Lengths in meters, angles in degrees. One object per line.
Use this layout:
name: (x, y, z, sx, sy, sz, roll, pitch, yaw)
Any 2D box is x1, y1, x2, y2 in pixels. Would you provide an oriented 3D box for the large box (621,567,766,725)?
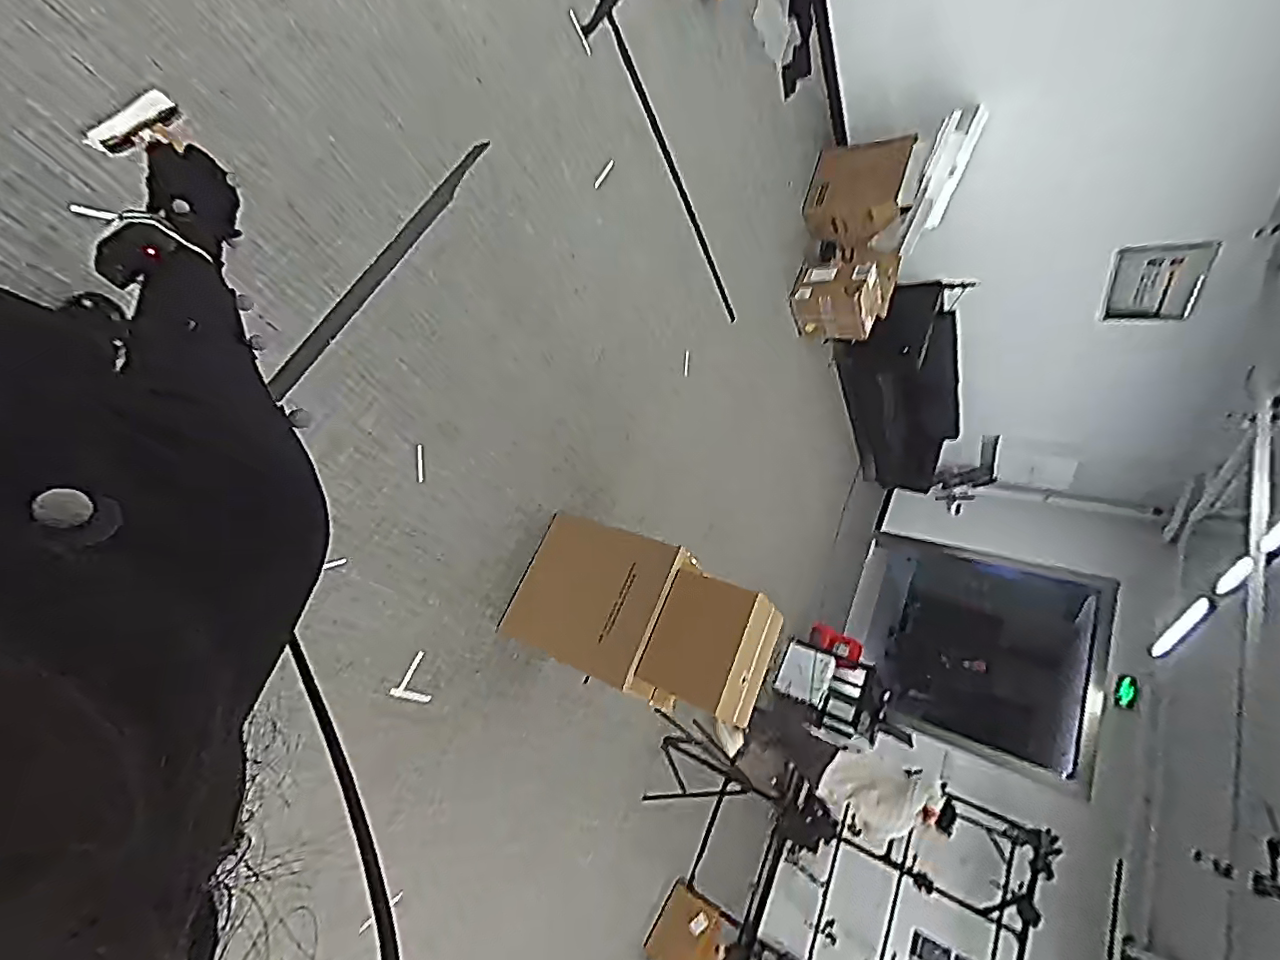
large box: (0.194, 0.568, 1.870, 0.320, 0.320, 0.408, 48, 62, -49)
